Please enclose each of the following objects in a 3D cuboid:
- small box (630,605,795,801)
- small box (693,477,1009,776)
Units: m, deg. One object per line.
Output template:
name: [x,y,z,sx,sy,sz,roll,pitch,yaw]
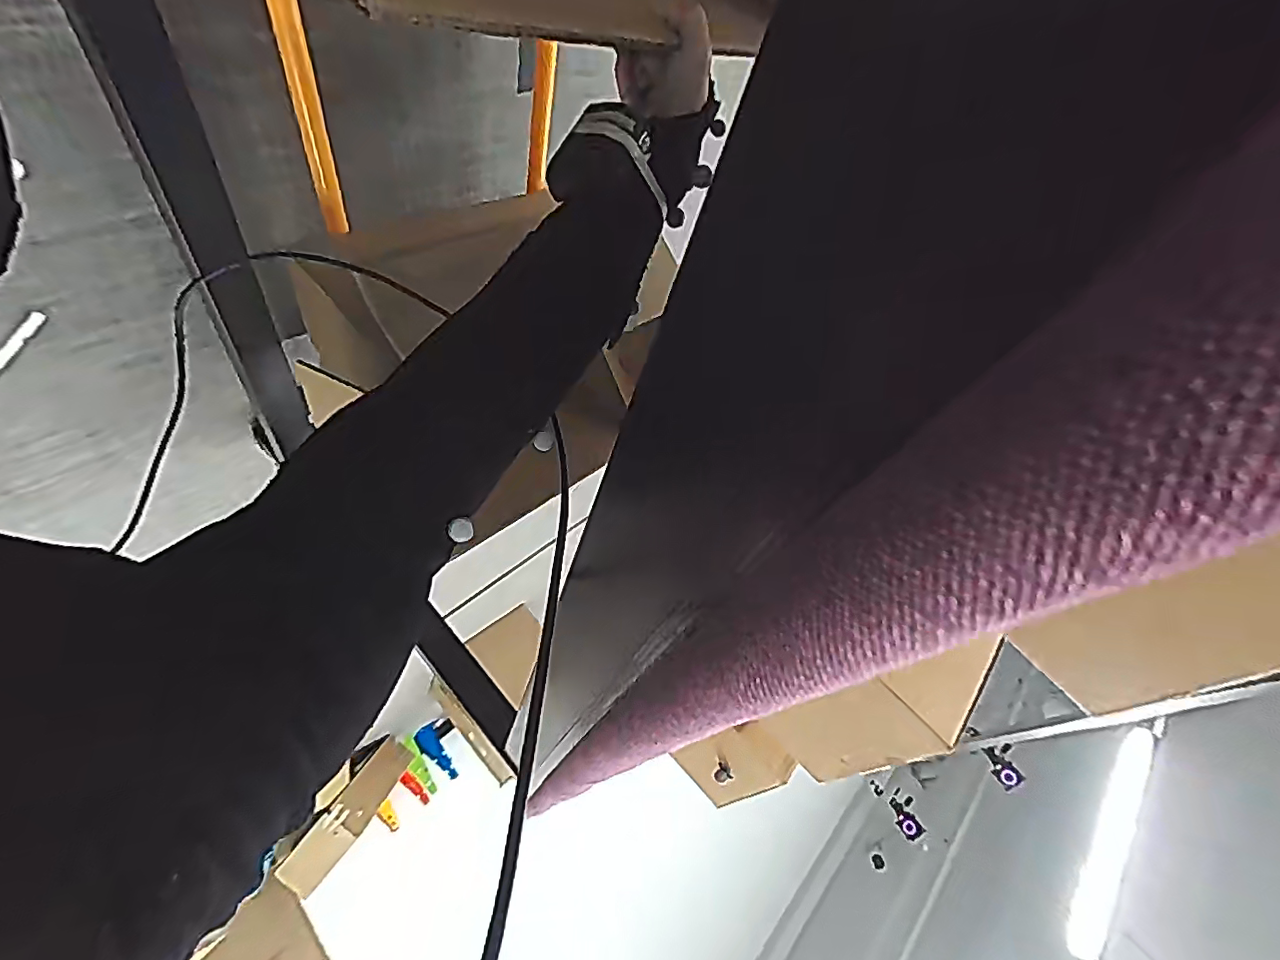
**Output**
small box: [0.112,0.262,0.682,0.168,0.176,0.179,-34,162,-39]
small box: [0.183,0.127,0.496,0.179,0.176,0.168,-34,162,-36]
